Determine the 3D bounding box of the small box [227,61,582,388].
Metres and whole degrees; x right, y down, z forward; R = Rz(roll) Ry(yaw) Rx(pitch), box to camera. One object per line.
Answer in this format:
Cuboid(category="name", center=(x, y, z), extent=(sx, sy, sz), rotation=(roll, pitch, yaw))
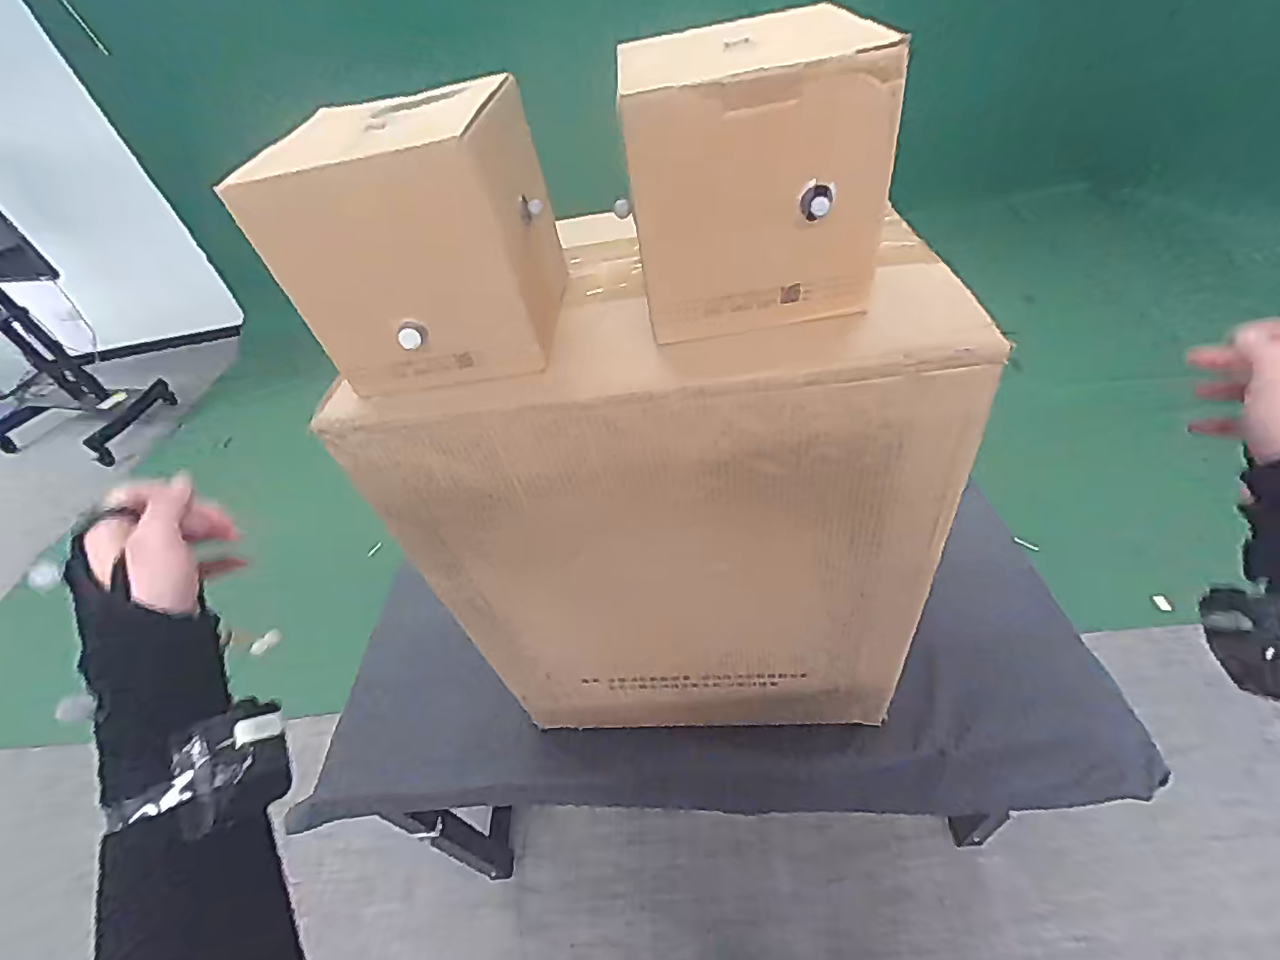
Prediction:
Cuboid(category="small box", center=(-0.150, -0.195, 0.423), extent=(0.168, 0.176, 0.179), rotation=(-5, 47, 10))
